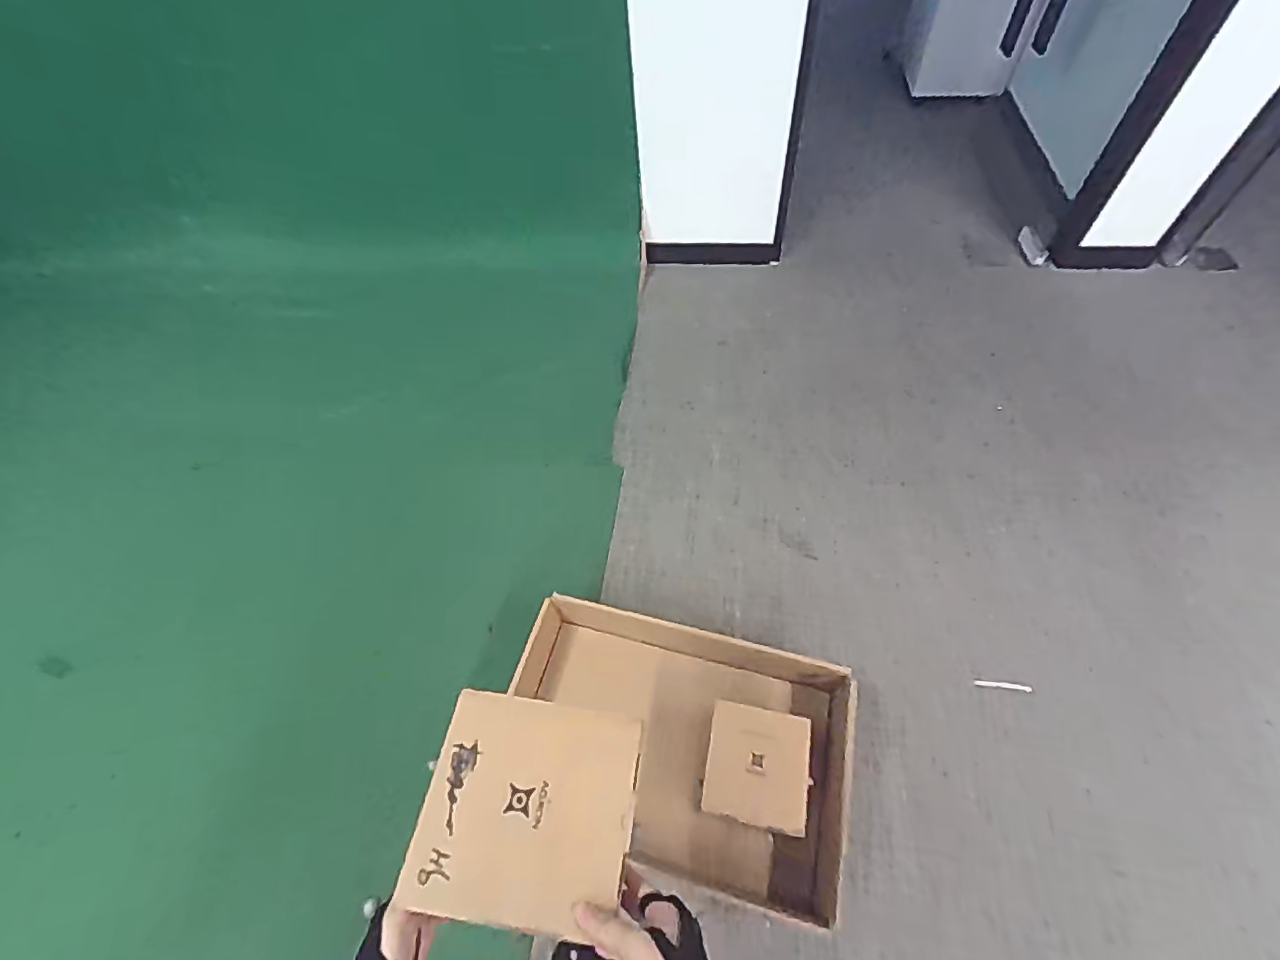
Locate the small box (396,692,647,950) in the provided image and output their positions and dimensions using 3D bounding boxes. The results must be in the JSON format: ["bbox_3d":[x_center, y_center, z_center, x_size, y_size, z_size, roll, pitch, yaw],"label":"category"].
[{"bbox_3d":[-0.097,0.326,0.526,0.179,0.176,0.168,9,53,3],"label":"small box"}]
